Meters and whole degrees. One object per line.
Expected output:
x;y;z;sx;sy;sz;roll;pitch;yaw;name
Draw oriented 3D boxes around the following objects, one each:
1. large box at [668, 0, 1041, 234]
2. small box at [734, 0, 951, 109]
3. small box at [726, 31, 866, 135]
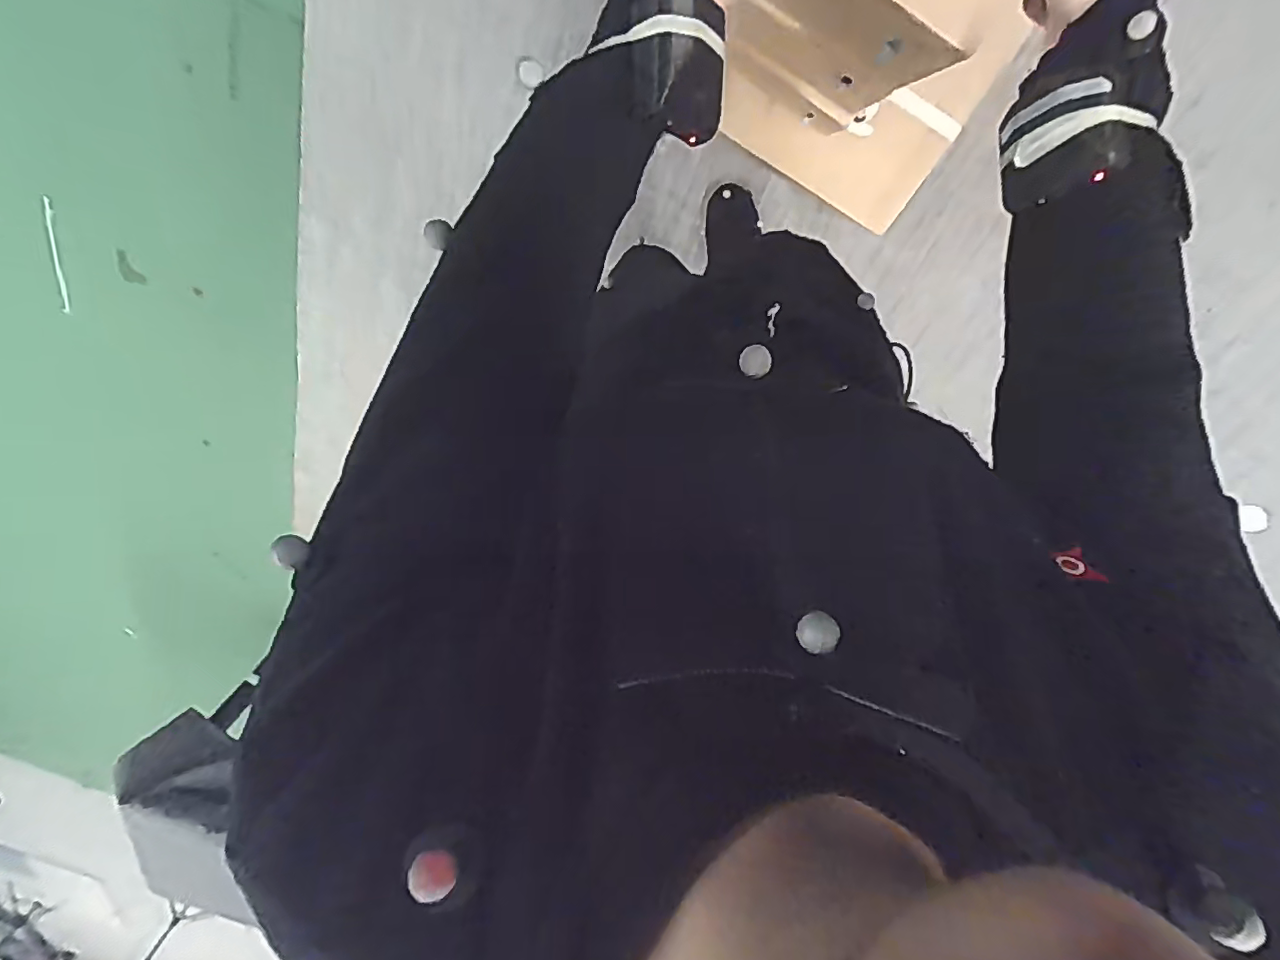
0.297;-0.661;0.876;0.408;0.320;0.320;28;122;-8;large box
0.203;-0.491;0.521;0.179;0.176;0.168;28;119;-8;small box
0.224;-0.556;0.668;0.179;0.176;0.168;30;119;-7;small box
